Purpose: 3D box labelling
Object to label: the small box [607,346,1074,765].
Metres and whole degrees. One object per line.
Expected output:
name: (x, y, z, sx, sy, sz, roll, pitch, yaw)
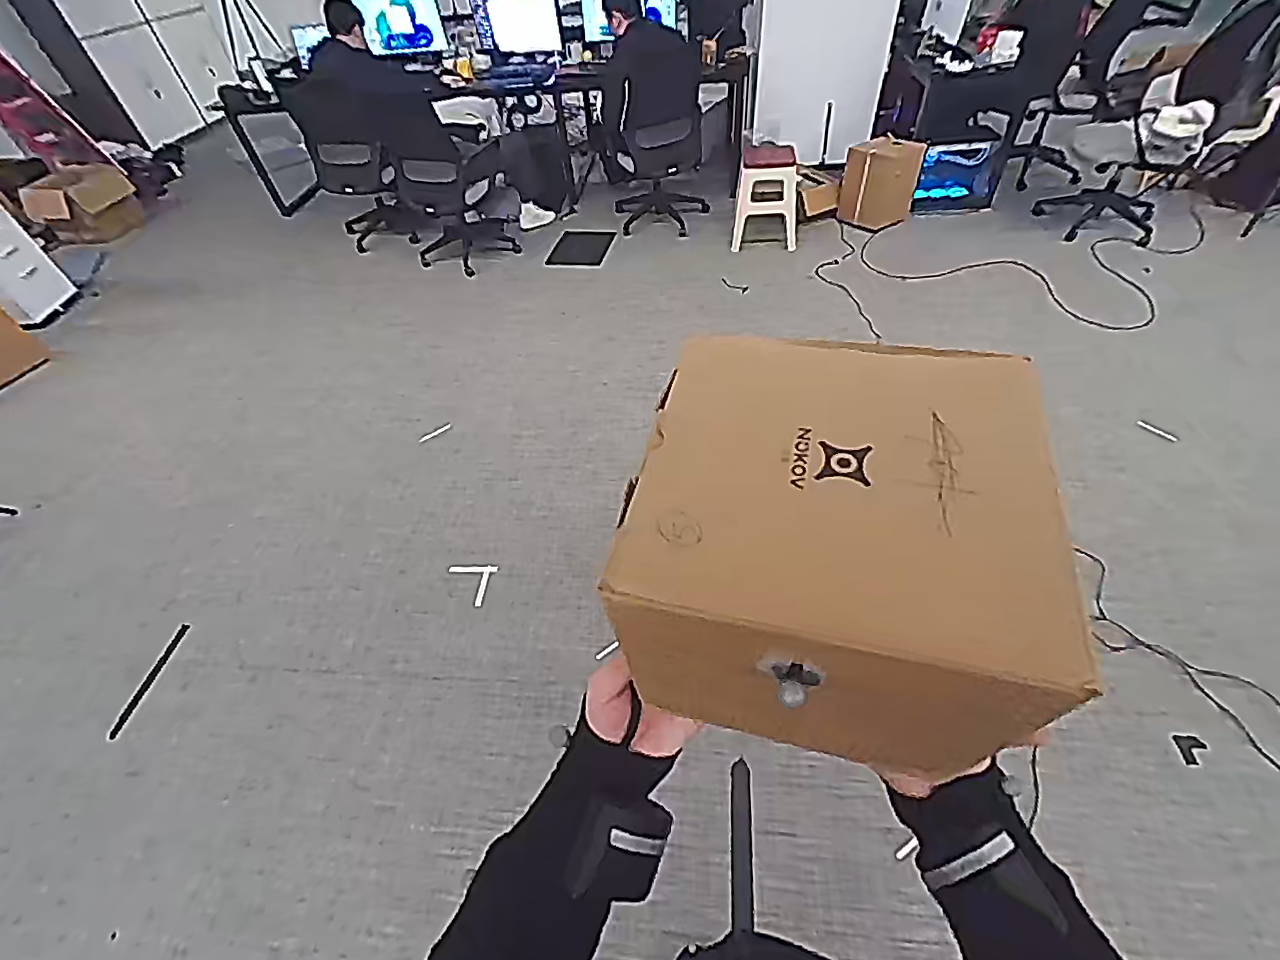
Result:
small box: (0.098, 0.046, 0.314, 0.179, 0.176, 0.168, 9, 55, 14)
